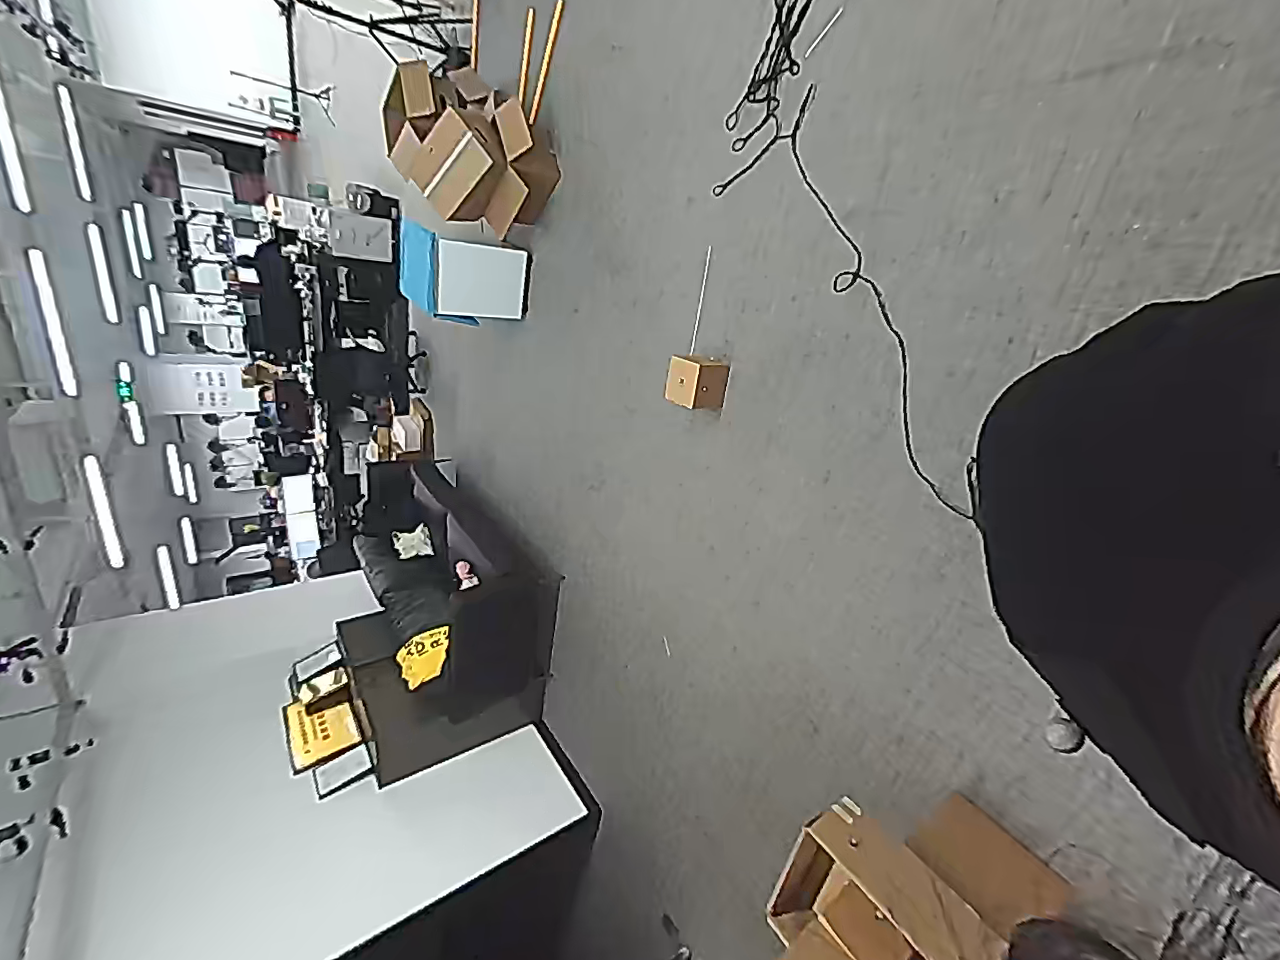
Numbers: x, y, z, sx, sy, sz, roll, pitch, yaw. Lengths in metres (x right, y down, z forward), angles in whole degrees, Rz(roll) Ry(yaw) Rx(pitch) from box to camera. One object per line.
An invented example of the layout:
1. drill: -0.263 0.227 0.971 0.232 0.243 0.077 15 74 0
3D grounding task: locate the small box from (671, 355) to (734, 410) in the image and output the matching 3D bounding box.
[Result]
1. small box: 0.245 -0.384 2.114 0.168 0.176 0.179 33 122 46
